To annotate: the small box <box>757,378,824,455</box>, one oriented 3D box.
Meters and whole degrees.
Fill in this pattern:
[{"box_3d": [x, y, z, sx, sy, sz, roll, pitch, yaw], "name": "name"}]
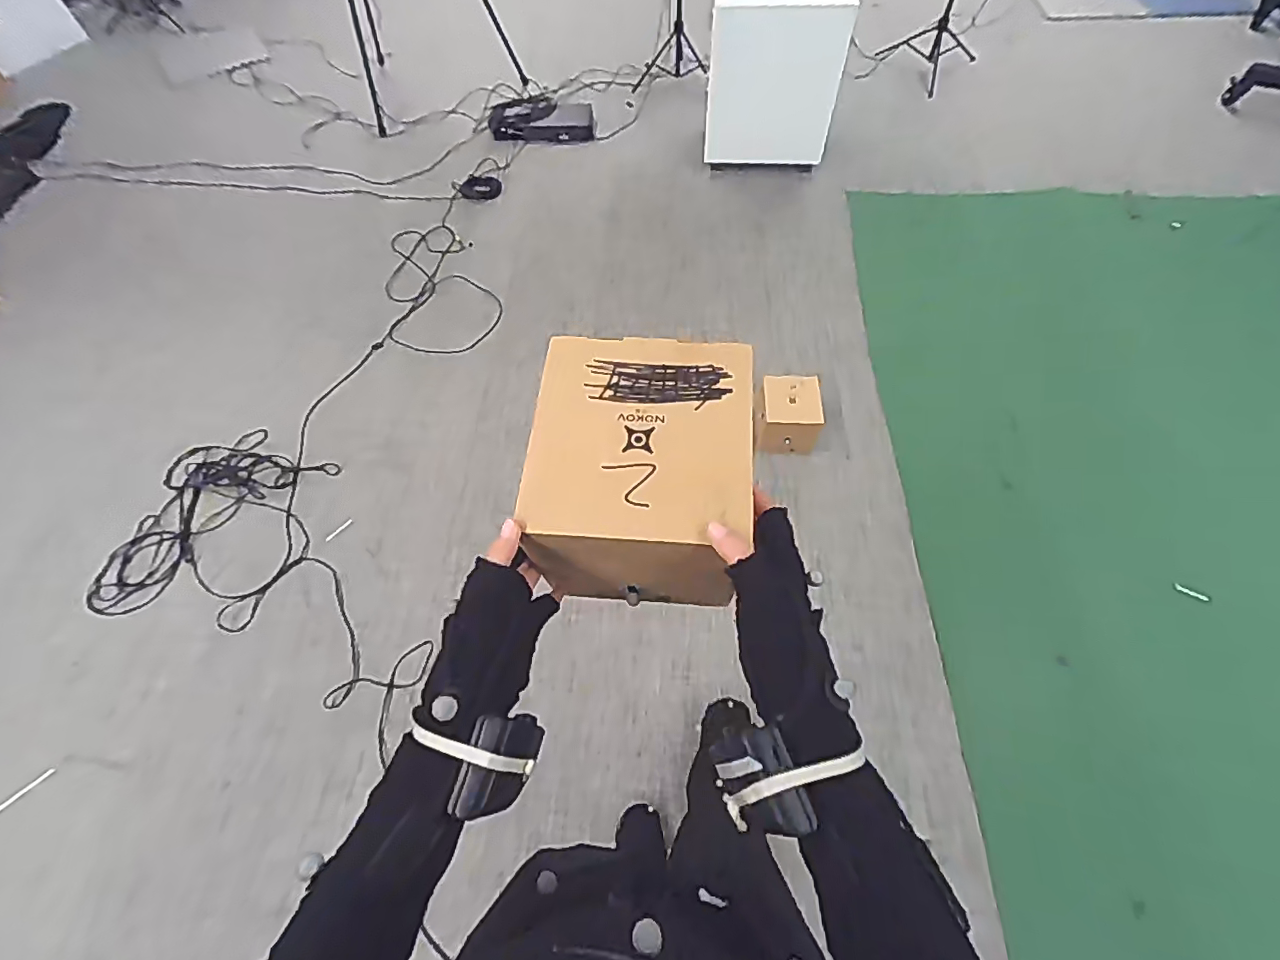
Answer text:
[{"box_3d": [0.453, -0.189, 1.654, 0.168, 0.176, 0.179, 2, 60, 3], "name": "small box"}]
